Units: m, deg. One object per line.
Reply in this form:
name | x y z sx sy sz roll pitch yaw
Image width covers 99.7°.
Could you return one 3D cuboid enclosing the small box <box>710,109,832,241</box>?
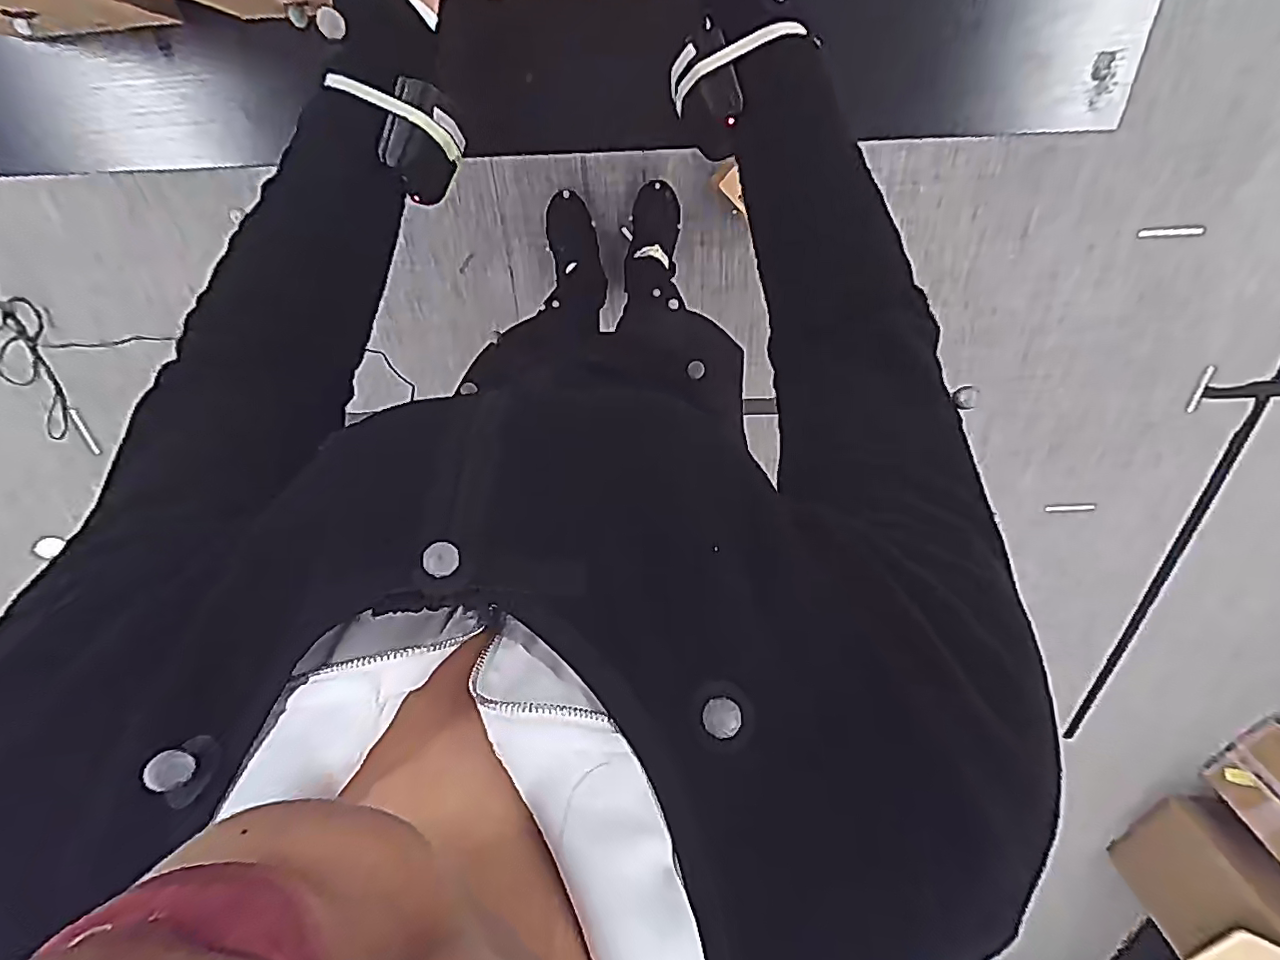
small box | 0.268 -0.648 1.154 0.168 0.176 0.179 37 114 -20
